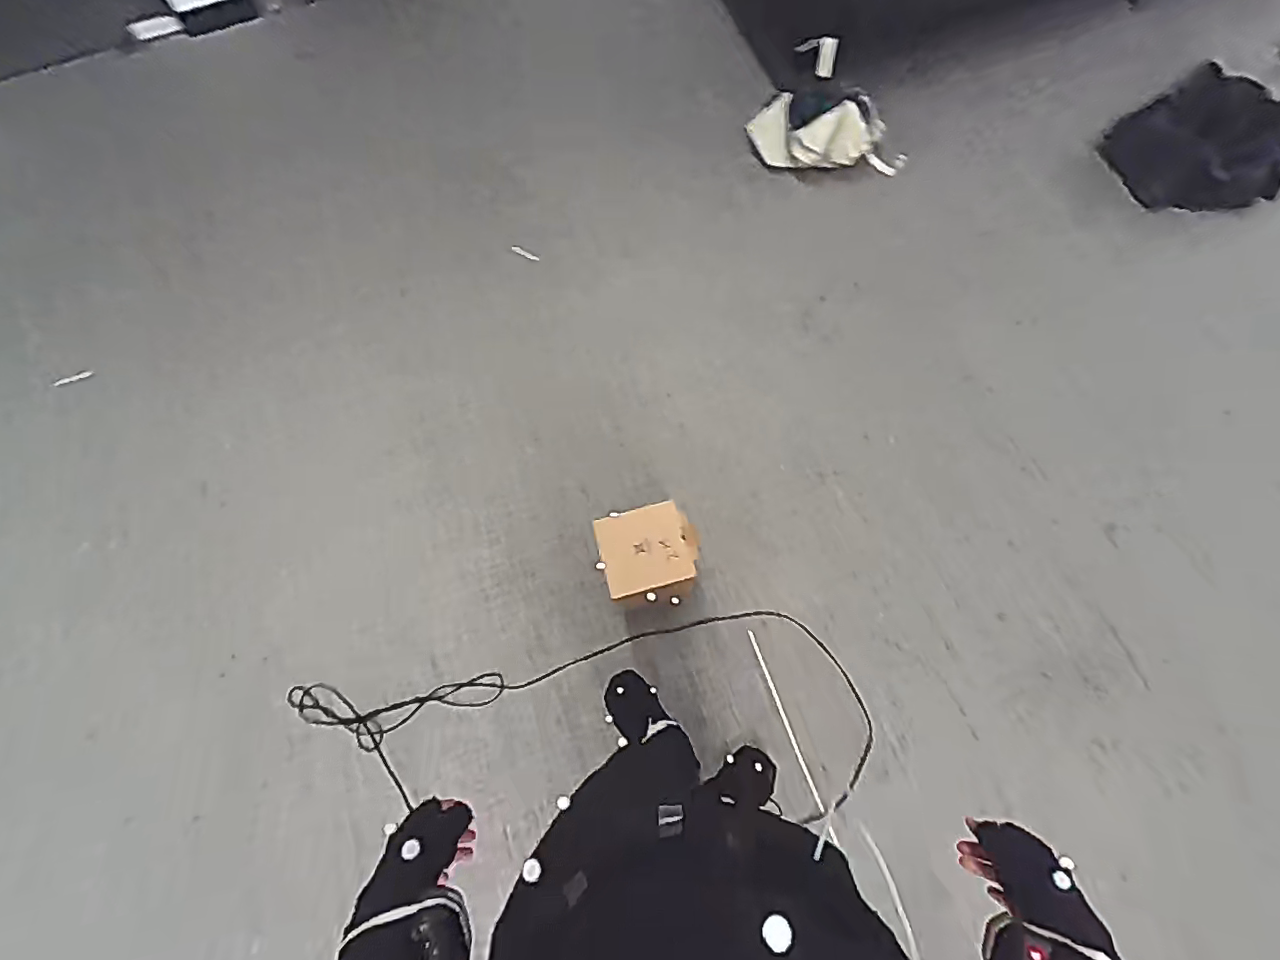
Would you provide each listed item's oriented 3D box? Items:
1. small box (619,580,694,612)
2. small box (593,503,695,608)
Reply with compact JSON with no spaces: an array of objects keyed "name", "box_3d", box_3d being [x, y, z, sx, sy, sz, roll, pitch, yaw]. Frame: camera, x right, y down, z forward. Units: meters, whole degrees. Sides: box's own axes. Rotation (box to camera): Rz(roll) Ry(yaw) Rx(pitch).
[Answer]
[{"name":"small box","box_3d":[0.022,0.212,1.294,0.179,0.176,0.168,-13,71,-2]},{"name":"small box","box_3d":[0.011,0.168,1.153,0.179,0.176,0.168,-14,71,-3]}]
